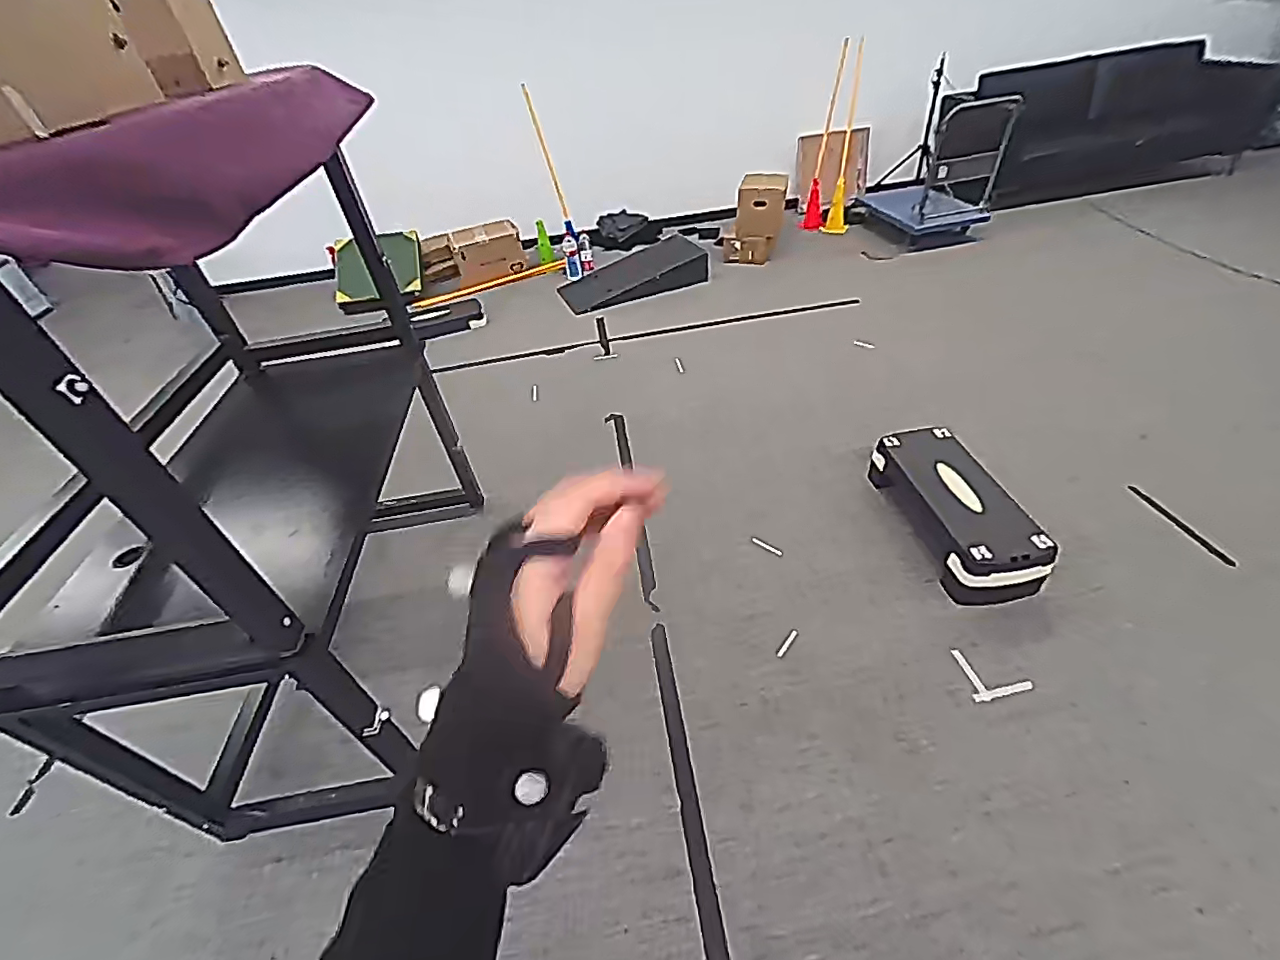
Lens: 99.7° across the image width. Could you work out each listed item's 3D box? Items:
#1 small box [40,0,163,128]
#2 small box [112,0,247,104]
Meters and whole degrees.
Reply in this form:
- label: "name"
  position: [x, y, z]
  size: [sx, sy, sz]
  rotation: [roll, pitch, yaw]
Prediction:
- label: "small box"
  position: [-0.925, -0.665, 0.861]
  size: [0.168, 0.176, 0.179]
  rotation: [-10, 42, -1]
- label: "small box"
  position: [-0.971, -0.897, 1.127]
  size: [0.168, 0.176, 0.179]
  rotation: [-9, 41, 0]
